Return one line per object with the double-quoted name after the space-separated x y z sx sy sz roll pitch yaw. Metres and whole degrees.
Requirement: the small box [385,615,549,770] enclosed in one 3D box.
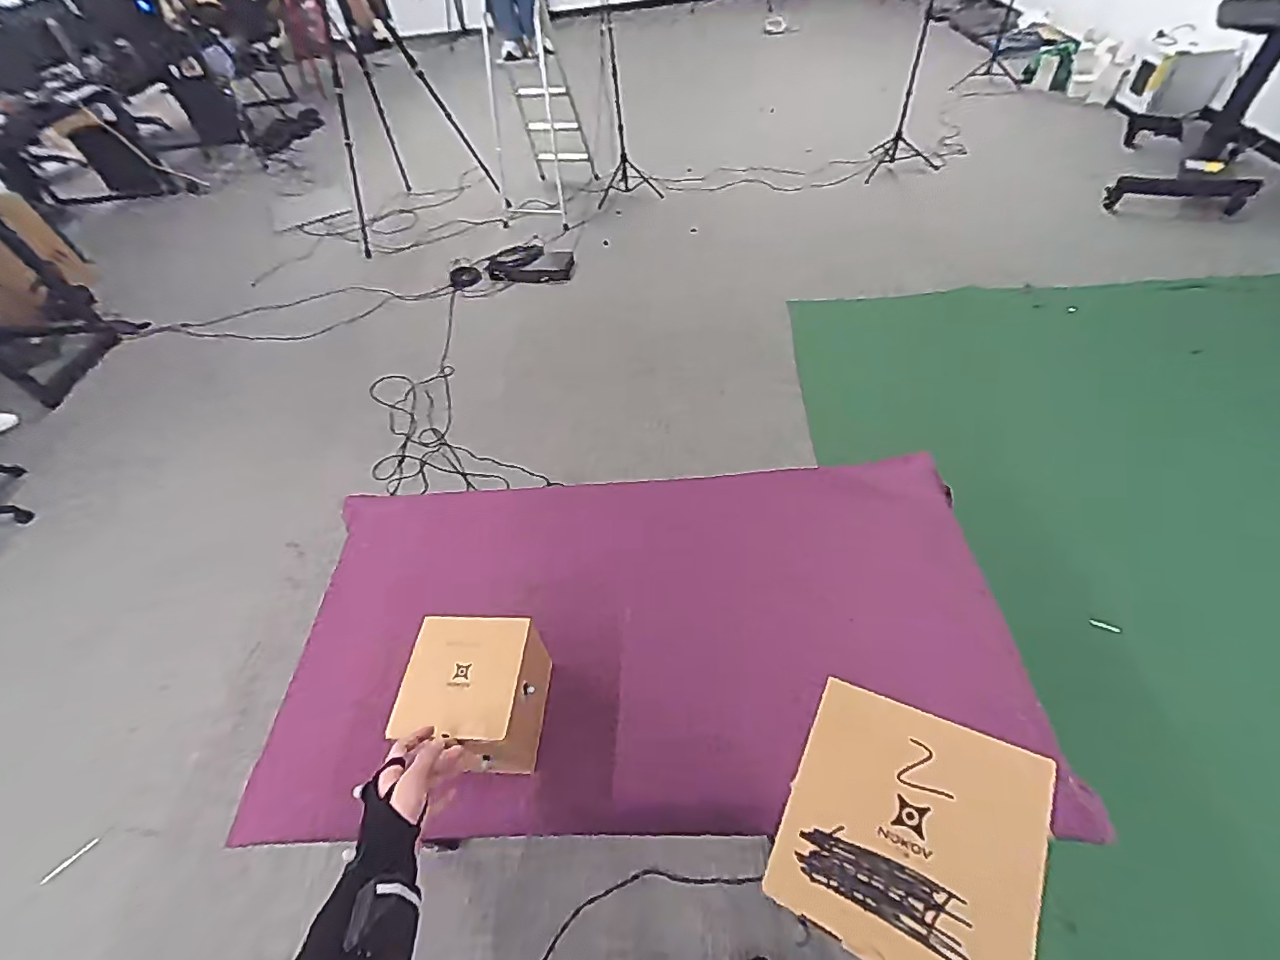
-0.243 0.323 0.816 0.168 0.176 0.179 0 49 6 "small box"
